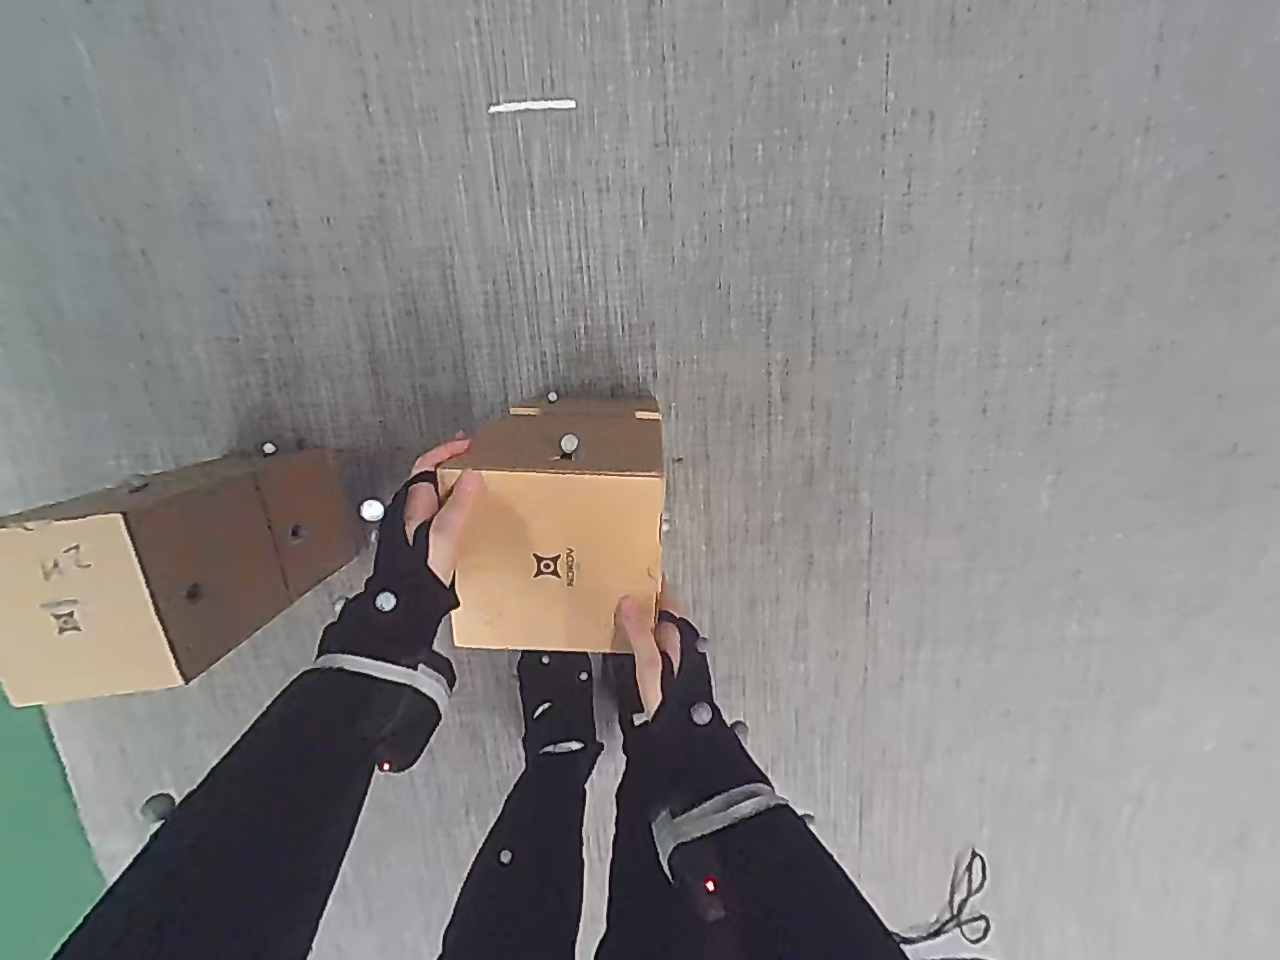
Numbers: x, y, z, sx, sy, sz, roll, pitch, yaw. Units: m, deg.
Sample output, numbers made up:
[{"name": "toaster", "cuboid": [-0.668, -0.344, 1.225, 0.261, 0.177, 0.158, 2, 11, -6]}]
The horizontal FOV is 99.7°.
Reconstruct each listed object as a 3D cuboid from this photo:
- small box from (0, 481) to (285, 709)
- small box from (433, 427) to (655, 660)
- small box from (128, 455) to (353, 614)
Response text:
[{"name": "small box", "cuboid": [-0.522, 0.111, 0.577, 0.168, 0.176, 0.179, -7, 103, 0]}, {"name": "small box", "cuboid": [-0.077, 0.049, 0.521, 0.179, 0.176, 0.168, 2, 110, 0]}, {"name": "small box", "cuboid": [-0.521, 0.071, 0.737, 0.168, 0.176, 0.179, -5, 102, 0]}]
